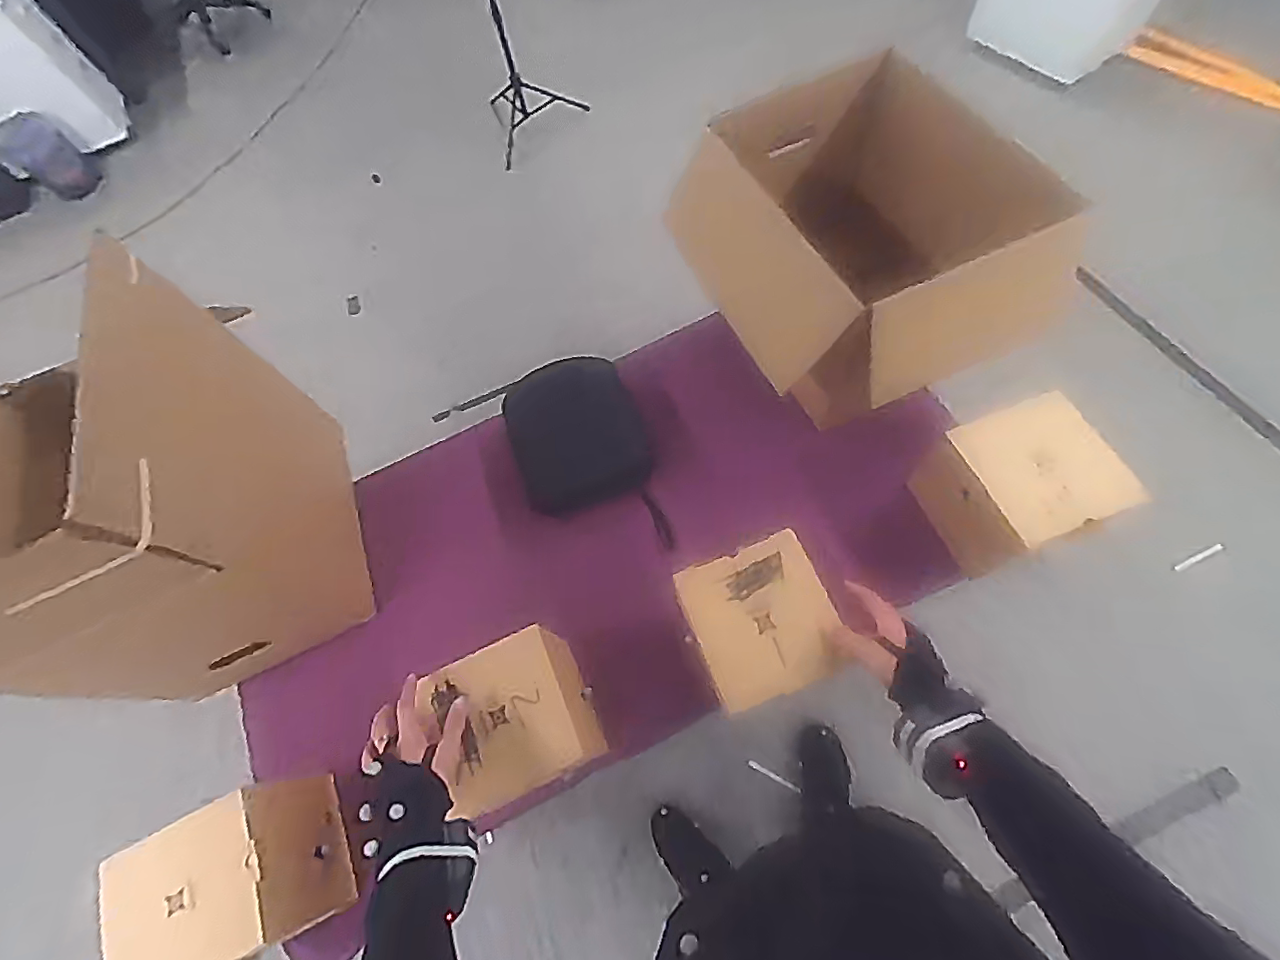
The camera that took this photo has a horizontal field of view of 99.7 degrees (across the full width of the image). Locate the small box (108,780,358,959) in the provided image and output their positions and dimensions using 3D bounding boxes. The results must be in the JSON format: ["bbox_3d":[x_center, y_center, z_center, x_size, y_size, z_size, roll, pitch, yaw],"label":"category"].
[{"bbox_3d":[-0.492,0.501,0.670,0.179,0.176,0.168,-28,65,-6],"label":"small box"}]

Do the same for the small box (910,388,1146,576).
[{"bbox_3d":[0.511,0.010,0.749,0.168,0.176,0.179,-22,65,-1],"label":"small box"}]

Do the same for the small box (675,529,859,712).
[{"bbox_3d":[0.155,0.194,0.719,0.168,0.176,0.179,-22,67,-2],"label":"small box"}]
